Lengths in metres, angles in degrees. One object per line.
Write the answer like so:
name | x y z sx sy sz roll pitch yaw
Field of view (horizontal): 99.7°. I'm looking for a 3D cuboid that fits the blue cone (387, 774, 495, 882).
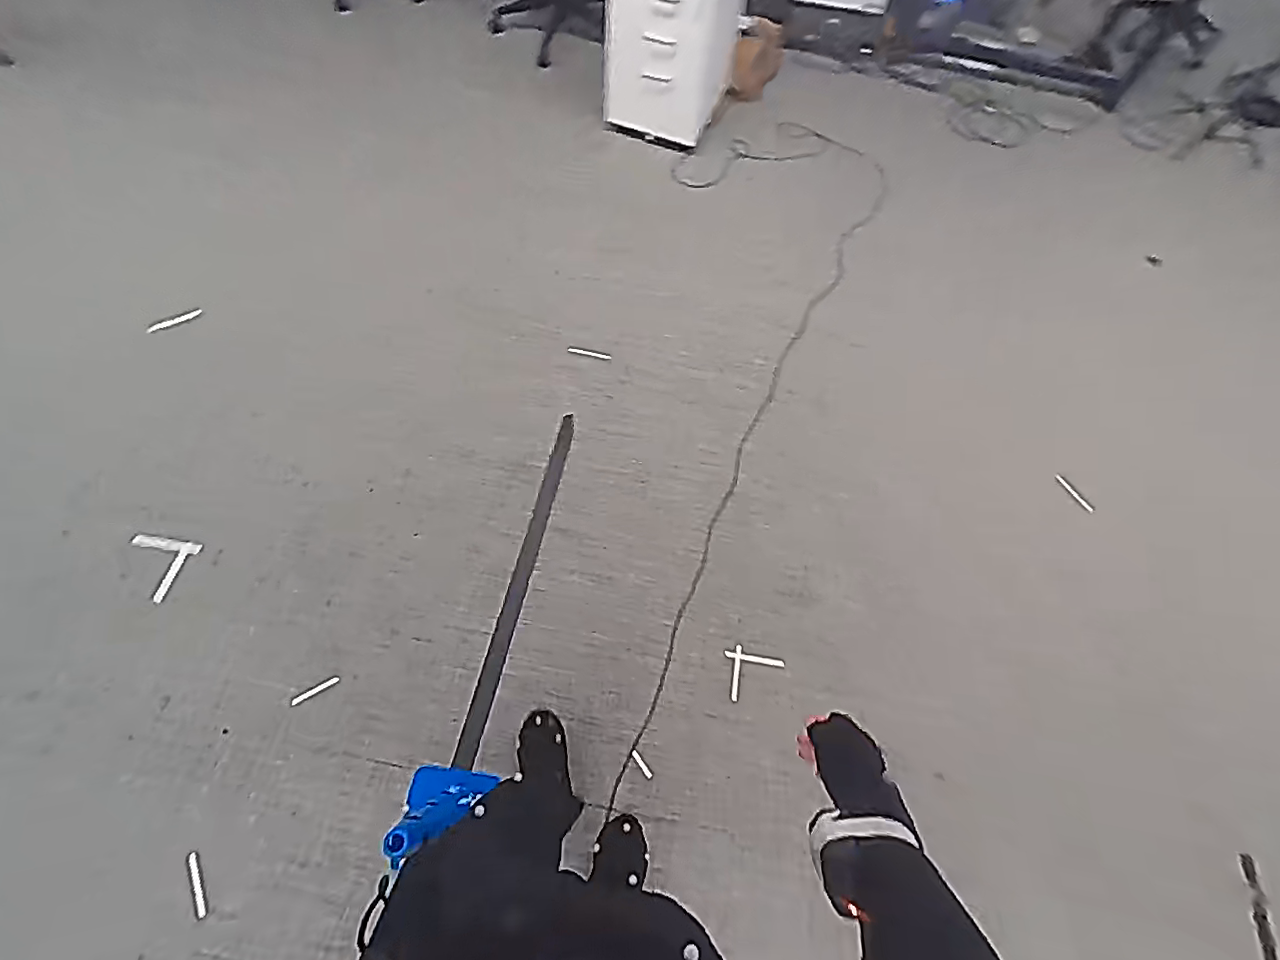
blue cone | -0.404 0.660 1.012 0.192 0.380 0.193 7 61 -1
